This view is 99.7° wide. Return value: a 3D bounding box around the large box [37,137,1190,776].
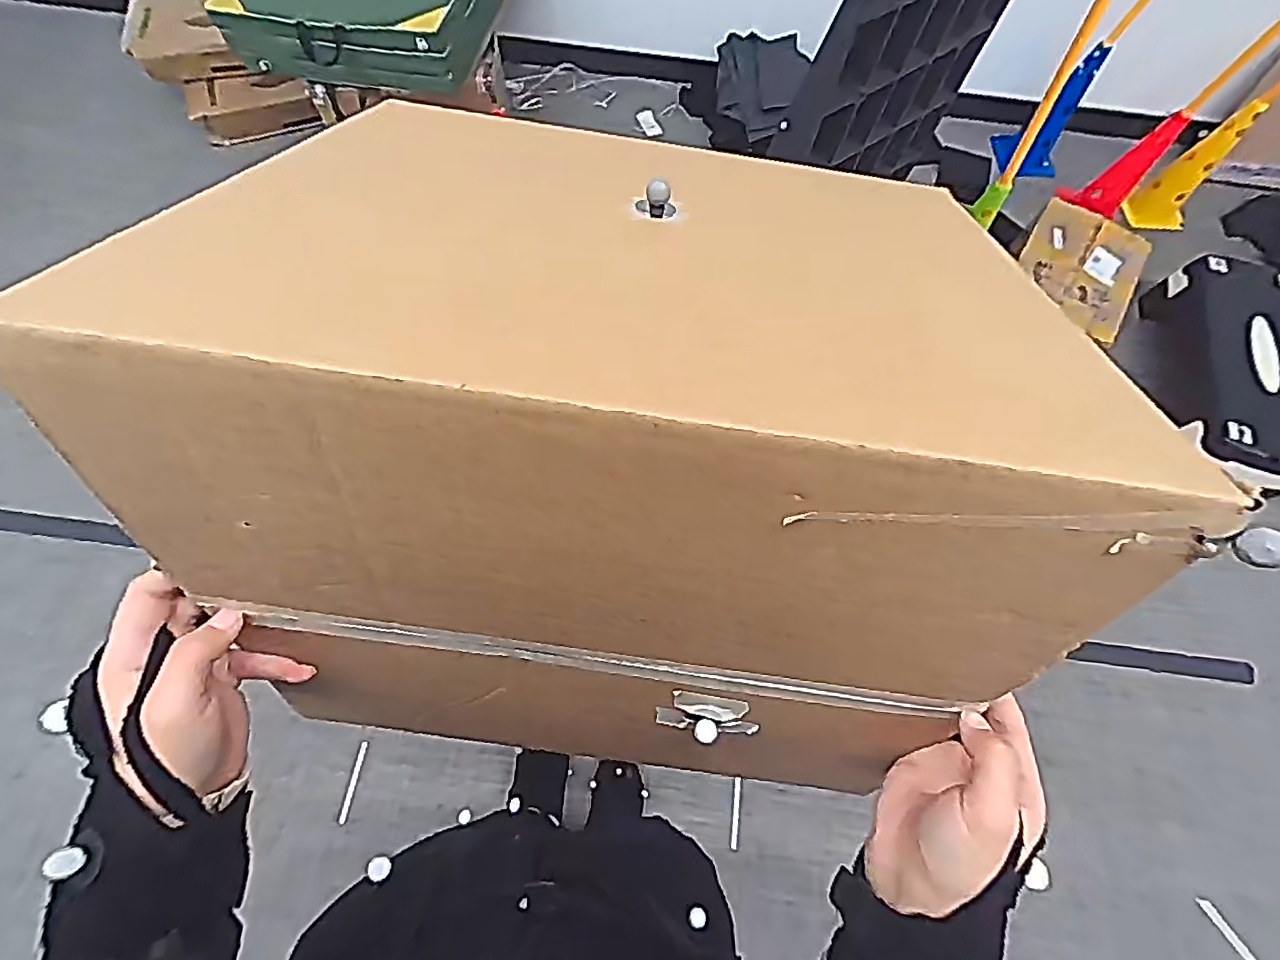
[{"bbox_3d":[-0.012,-0.018,0.391,0.408,0.320,0.320,7,47,-1],"label":"large box"}]
